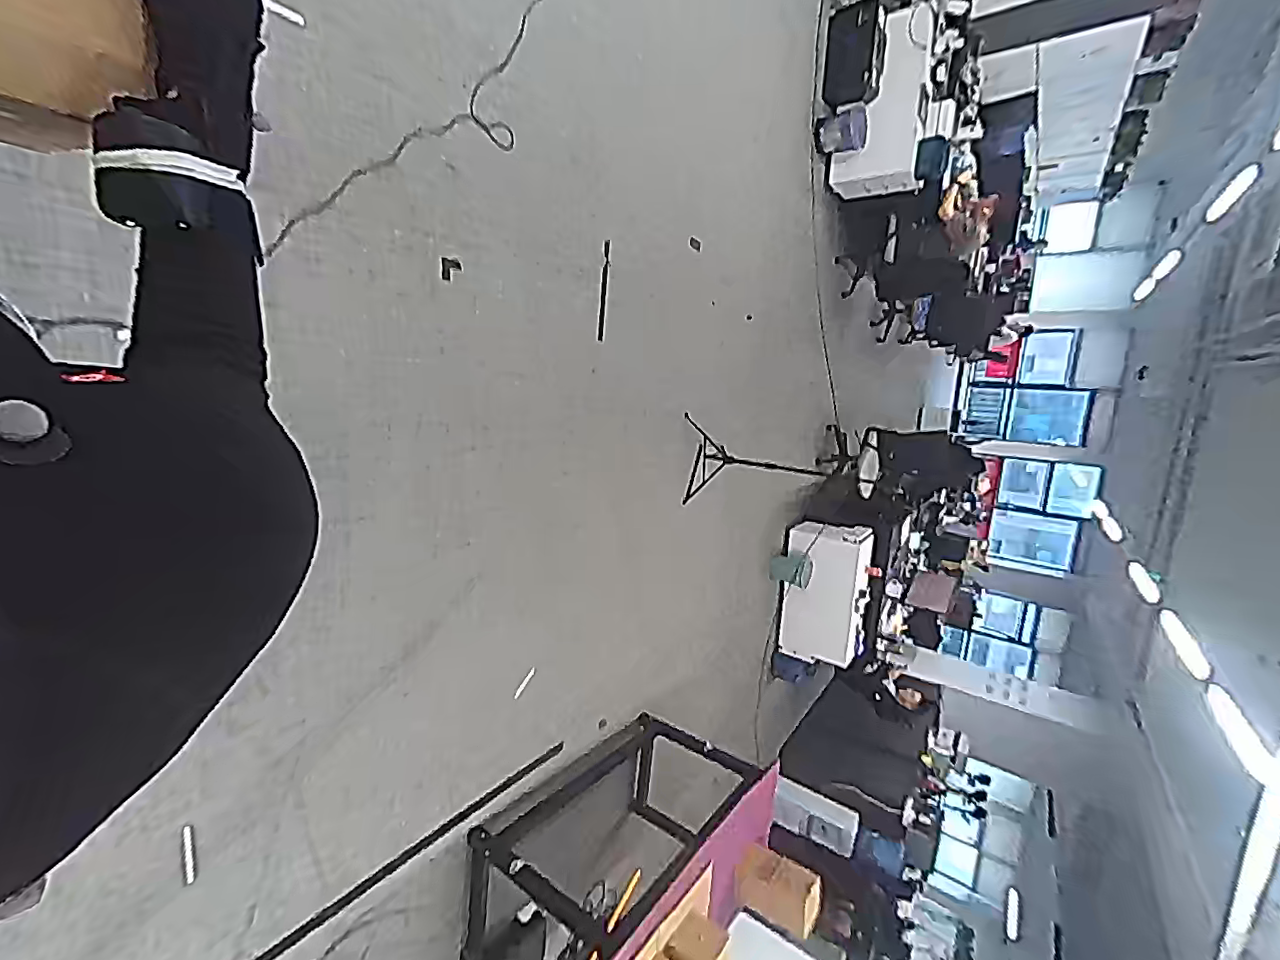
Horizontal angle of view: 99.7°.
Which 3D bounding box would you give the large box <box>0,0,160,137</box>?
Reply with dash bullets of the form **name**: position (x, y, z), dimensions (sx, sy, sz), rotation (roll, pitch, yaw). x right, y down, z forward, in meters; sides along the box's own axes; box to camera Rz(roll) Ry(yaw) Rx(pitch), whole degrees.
- **large box**: position (-0.553, -0.411, 0.259), dimensions (0.408, 0.320, 0.320), rotation (-14, 119, -56)
